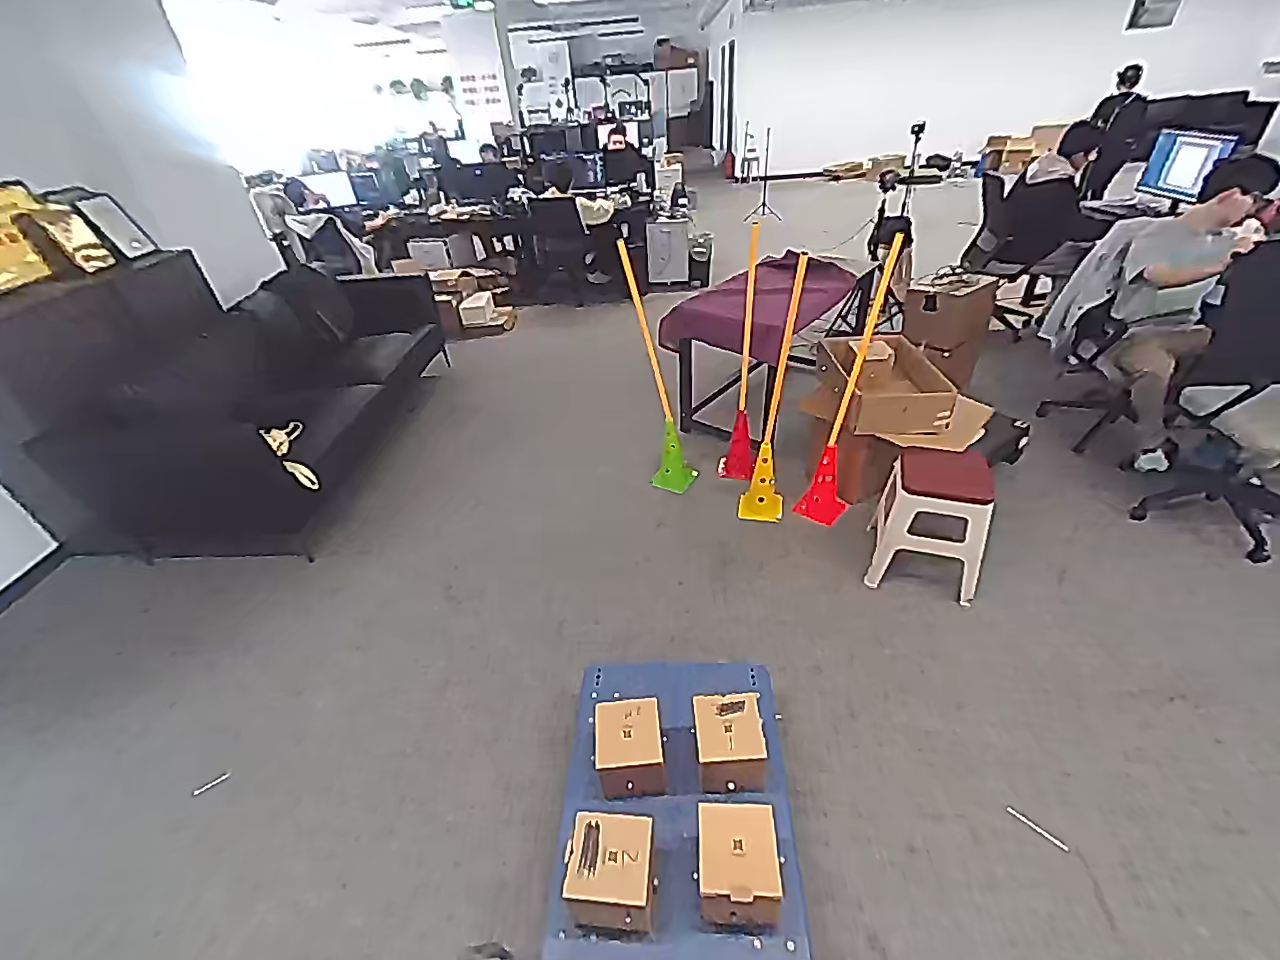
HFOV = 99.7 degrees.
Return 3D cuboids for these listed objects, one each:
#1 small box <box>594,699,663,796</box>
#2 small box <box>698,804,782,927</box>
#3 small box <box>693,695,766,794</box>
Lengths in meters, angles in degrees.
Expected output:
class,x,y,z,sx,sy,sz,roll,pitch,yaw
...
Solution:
class,x,y,z,sx,sy,sz,roll,pitch,yaw
small box,-0.029,0.706,1.416,0.168,0.176,0.179,-5,36,-1
small box,0.212,0.849,1.194,0.168,0.176,0.179,-2,36,5
small box,0.226,0.688,1.409,0.168,0.176,0.179,-5,37,2
